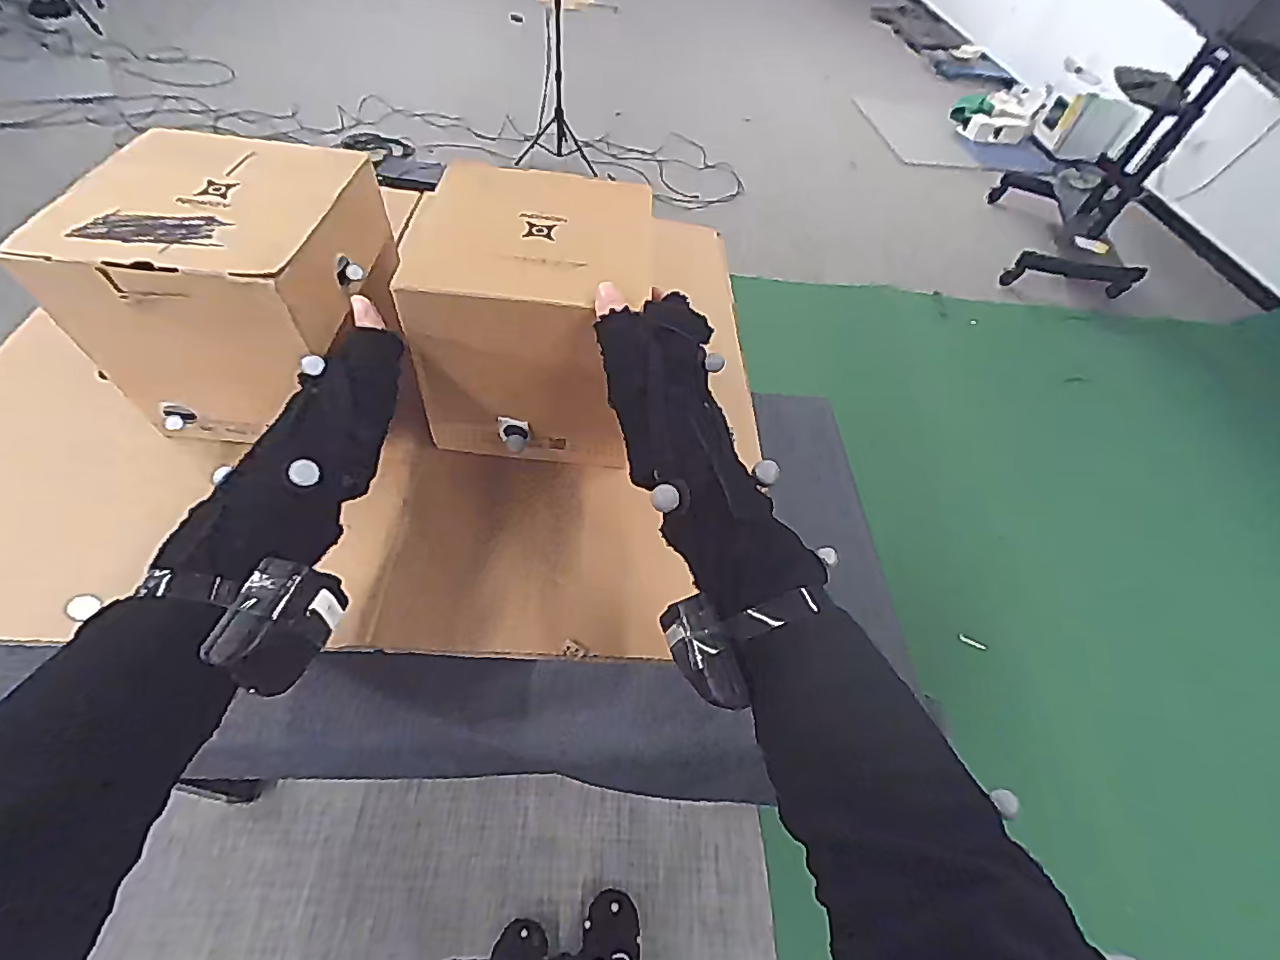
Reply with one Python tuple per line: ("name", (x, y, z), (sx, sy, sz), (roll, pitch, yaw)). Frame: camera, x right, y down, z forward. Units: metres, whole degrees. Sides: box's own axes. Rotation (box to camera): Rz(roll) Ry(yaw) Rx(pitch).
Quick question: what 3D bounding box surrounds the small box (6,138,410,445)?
("small box", (-0.309, -0.147, 0.445), (0.168, 0.176, 0.179), (5, 53, -3))
